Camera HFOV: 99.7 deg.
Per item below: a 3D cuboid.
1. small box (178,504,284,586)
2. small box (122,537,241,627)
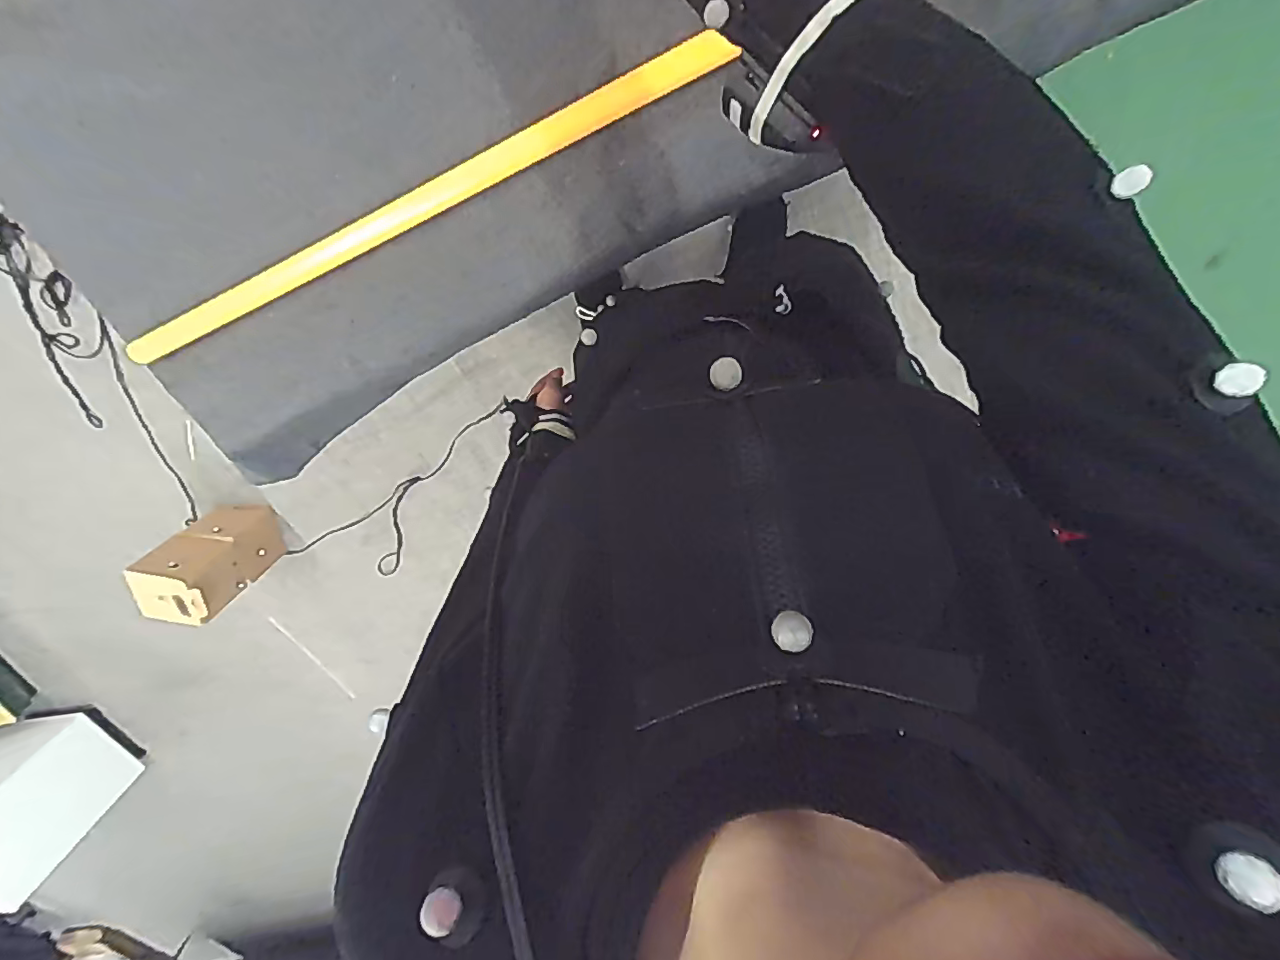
[{"bbox_3d":[-1.224,0.195,1.637,0.168,0.176,0.179,5,120,4],"label":"small box"},{"bbox_3d":[-1.251,0.278,1.496,0.179,0.176,0.168,9,119,2],"label":"small box"}]
